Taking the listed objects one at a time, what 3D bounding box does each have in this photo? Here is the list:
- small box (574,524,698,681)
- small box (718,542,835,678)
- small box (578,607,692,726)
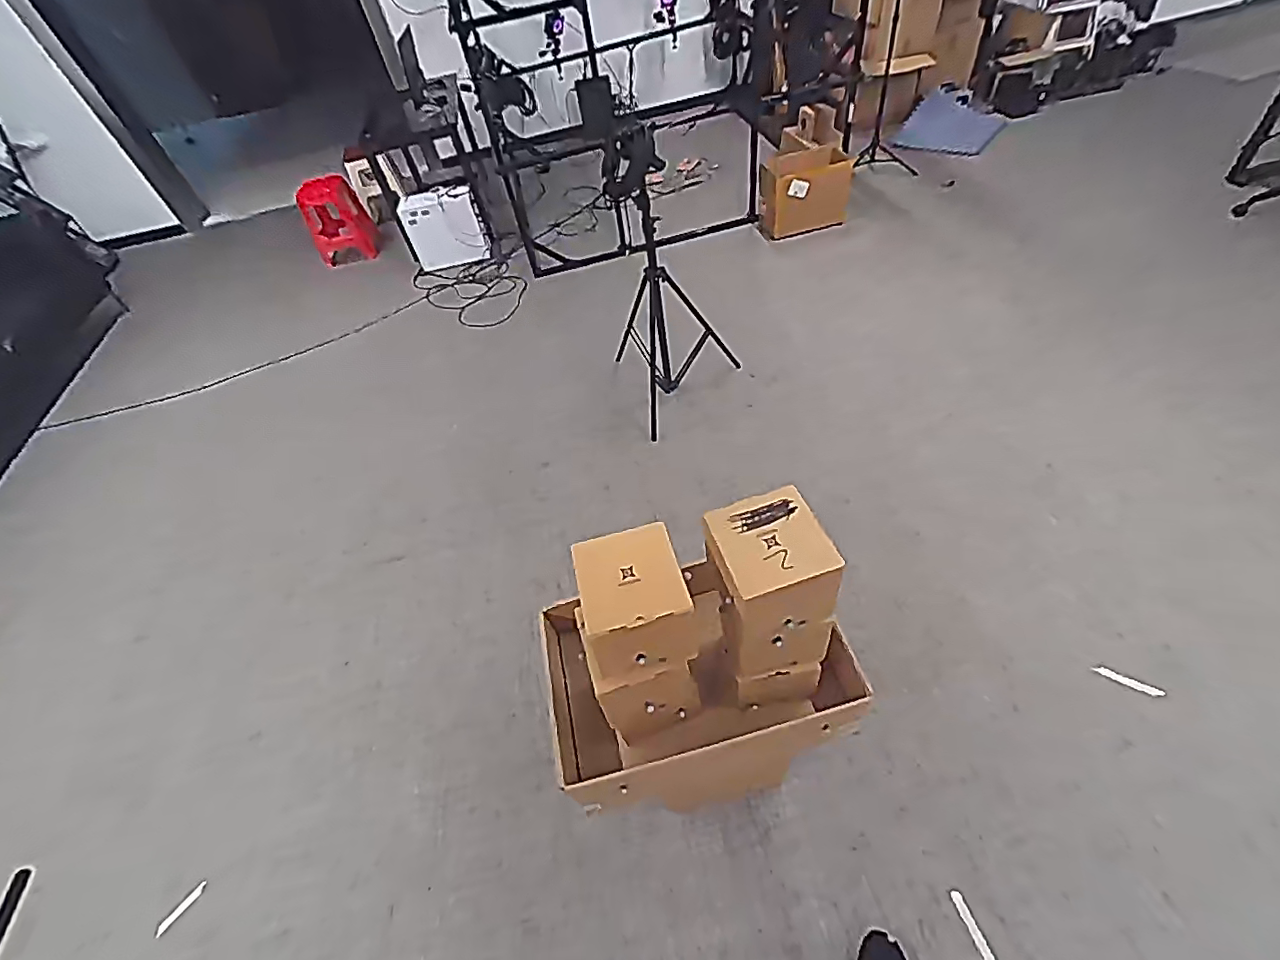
[{"bbox_3d":[-0.006,0.208,0.912,0.168,0.176,0.179,-15,48,-5],"label":"small box"},{"bbox_3d":[0.251,0.250,1.035,0.168,0.176,0.179,-13,48,0],"label":"small box"},{"bbox_3d":[-0.008,0.332,1.021,0.168,0.176,0.179,-18,49,-7],"label":"small box"}]
